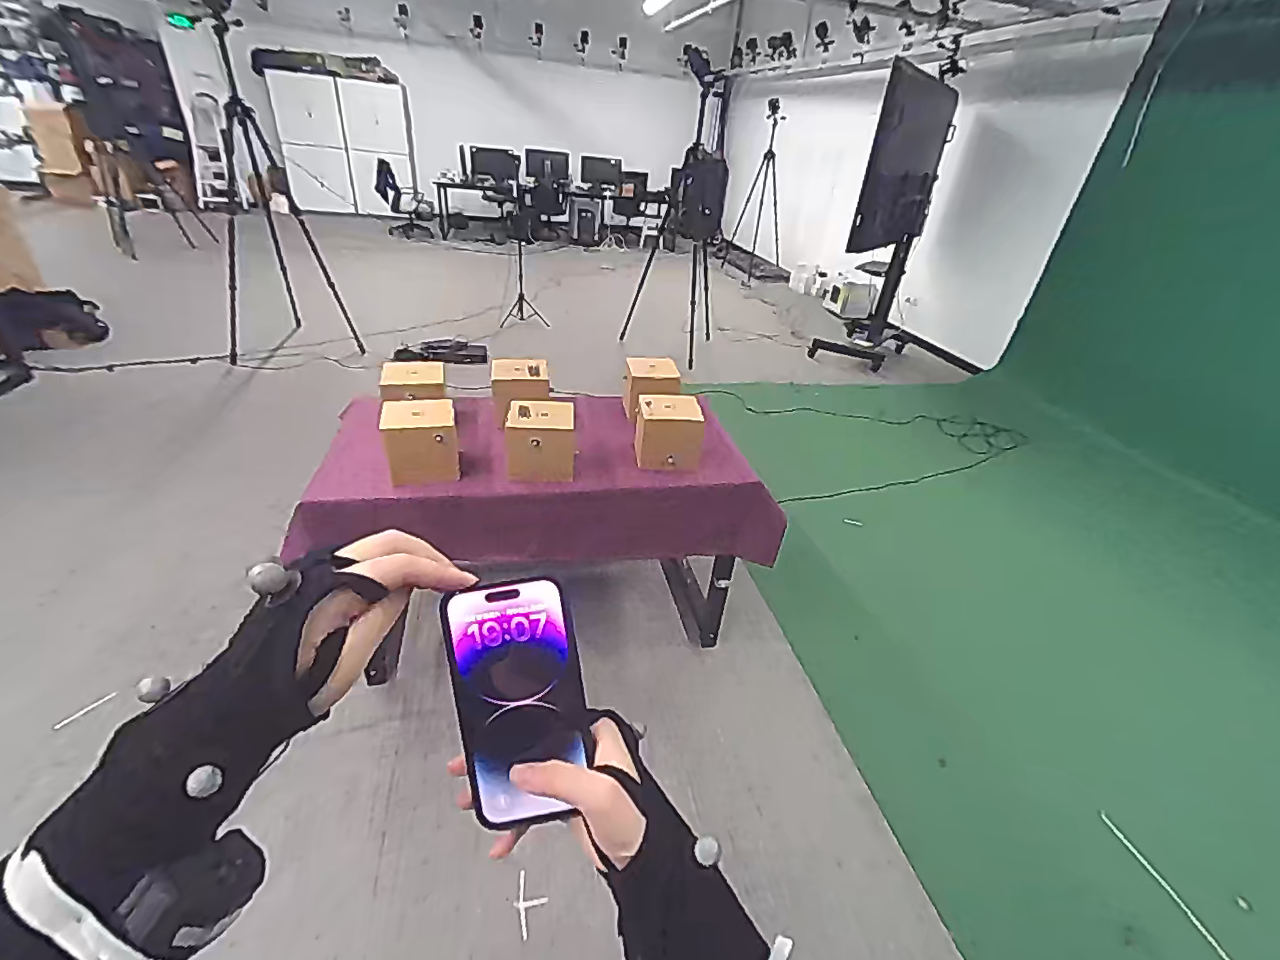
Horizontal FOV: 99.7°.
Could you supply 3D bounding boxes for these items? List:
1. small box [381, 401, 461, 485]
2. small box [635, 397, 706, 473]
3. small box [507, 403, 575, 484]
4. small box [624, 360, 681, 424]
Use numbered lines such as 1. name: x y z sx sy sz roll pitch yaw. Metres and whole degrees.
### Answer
1. small box: -0.577 -0.098 1.442 0.179 0.176 0.168 -4 33 -18
2. small box: 0.084 -0.133 1.606 0.179 0.176 0.168 2 32 -7
3. small box: -0.269 -0.102 1.498 0.179 0.176 0.168 2 32 -8
4. small box: 0.037 -0.303 1.865 0.168 0.176 0.179 -1 34 -9
